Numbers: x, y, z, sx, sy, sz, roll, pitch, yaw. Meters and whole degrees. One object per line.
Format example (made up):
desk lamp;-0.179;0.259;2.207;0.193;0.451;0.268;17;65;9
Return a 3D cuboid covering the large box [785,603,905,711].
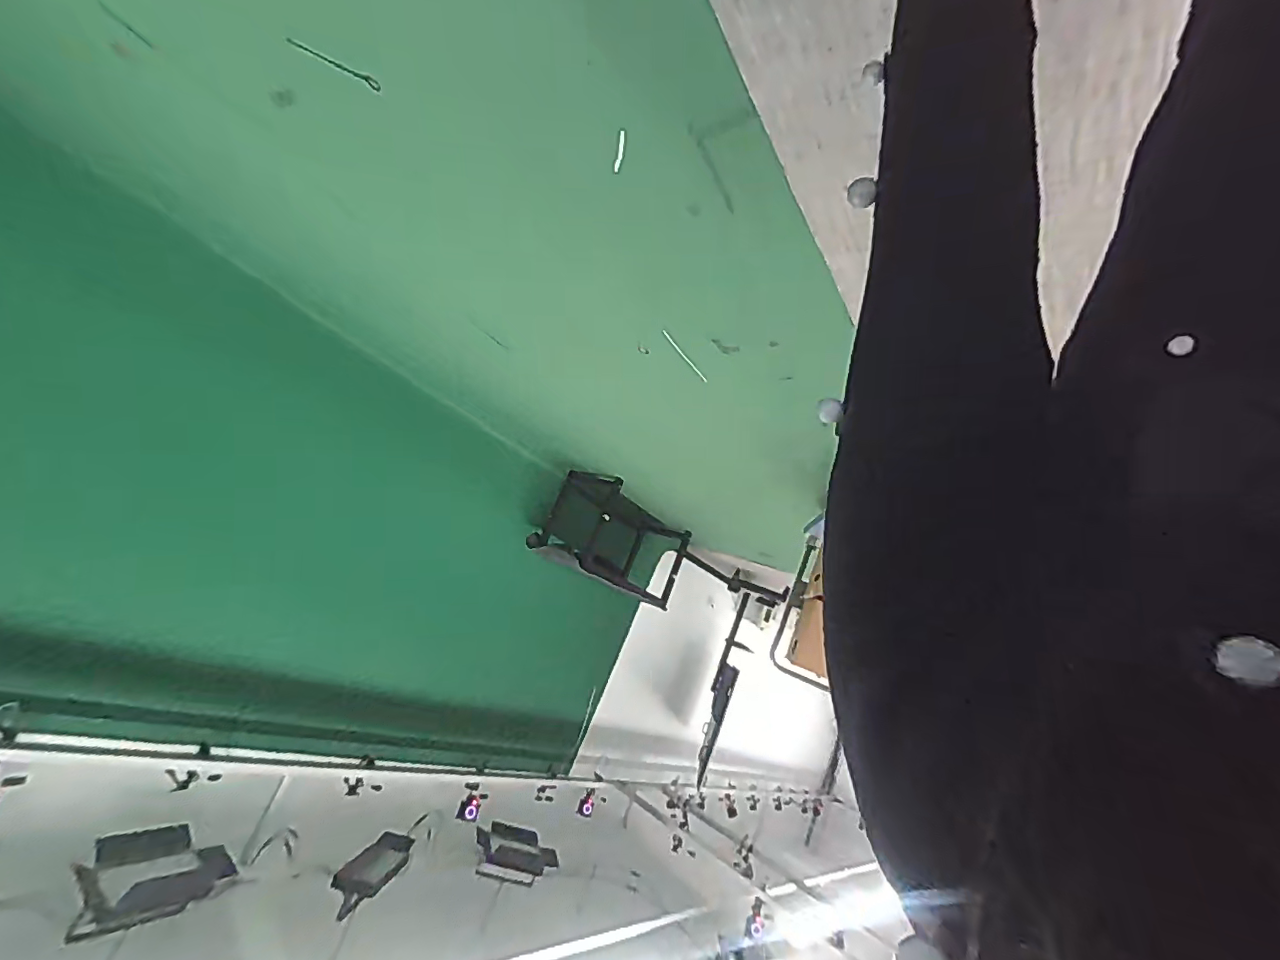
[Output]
large box;0.921;0.788;2.464;0.408;0.320;0.320;22;171;12
